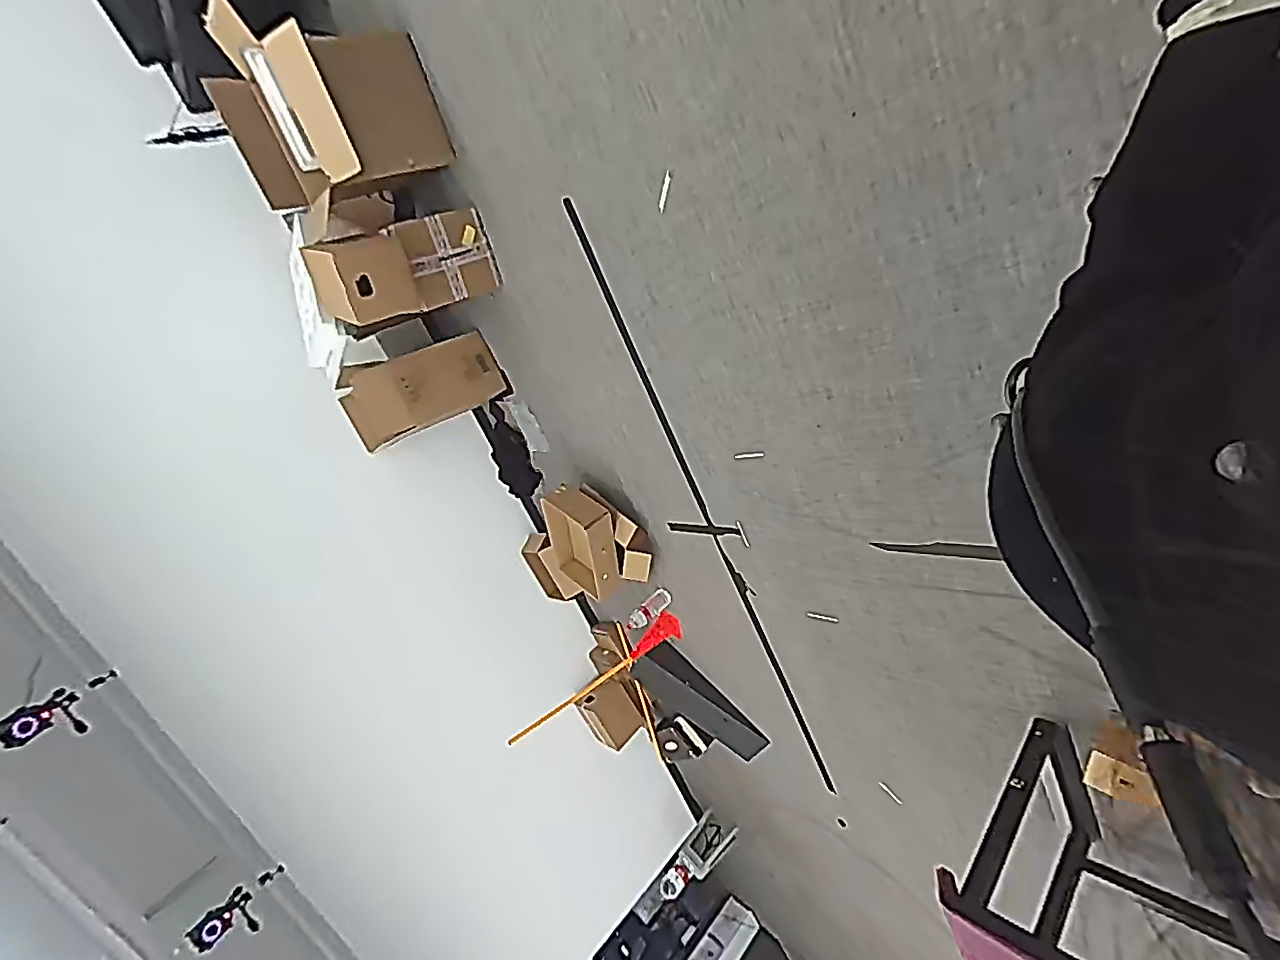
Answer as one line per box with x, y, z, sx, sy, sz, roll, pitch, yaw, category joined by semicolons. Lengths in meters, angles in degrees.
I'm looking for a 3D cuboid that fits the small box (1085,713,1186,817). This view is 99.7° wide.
1.425;0.807;1.557;0.179;0.176;0.168;17;132;44;small box
